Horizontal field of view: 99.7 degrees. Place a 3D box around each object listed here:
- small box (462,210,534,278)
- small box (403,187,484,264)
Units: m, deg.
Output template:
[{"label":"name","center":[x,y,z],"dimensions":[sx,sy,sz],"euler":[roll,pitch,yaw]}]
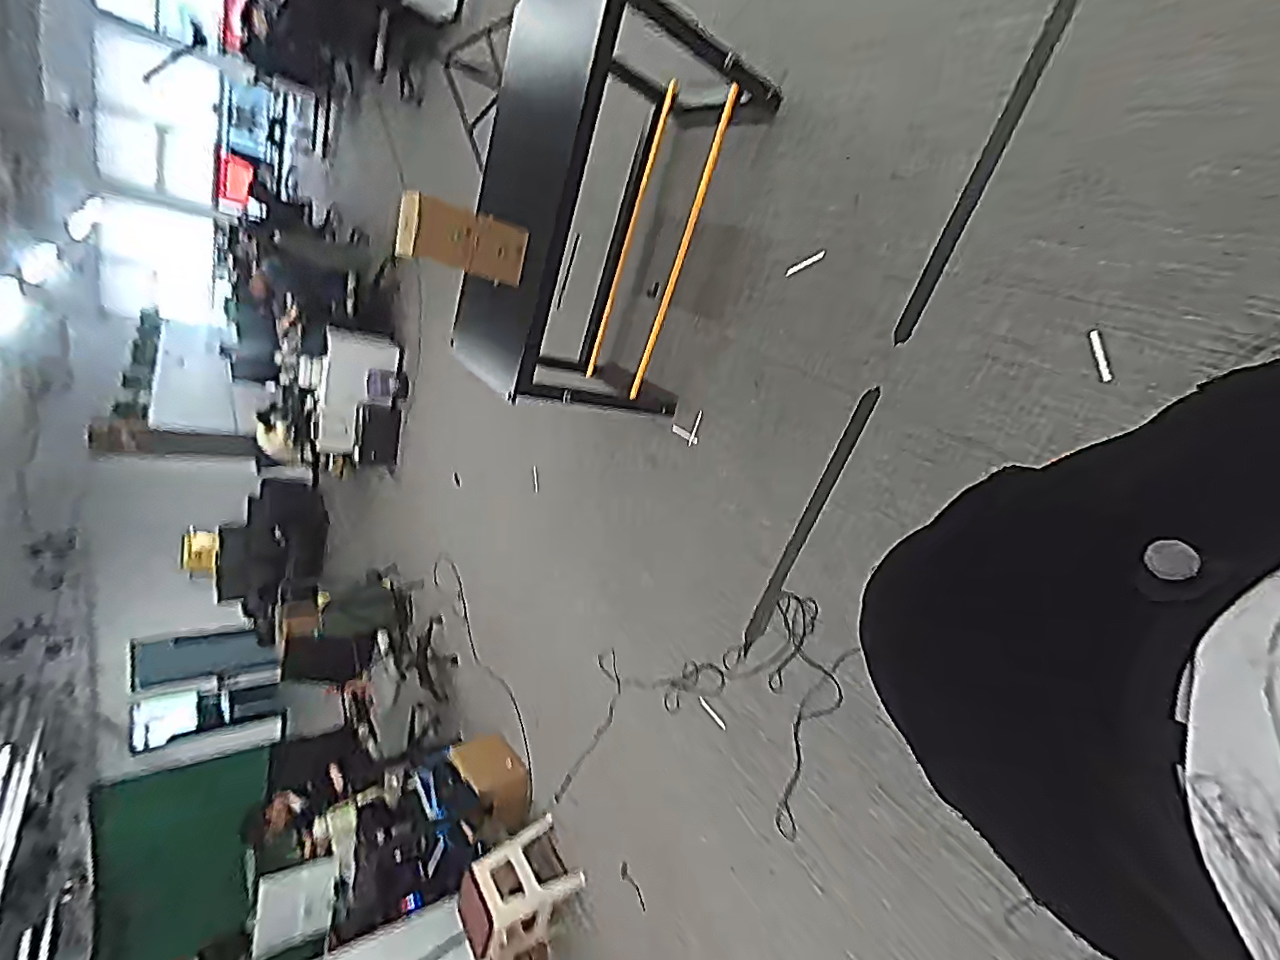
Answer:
[{"label":"small box","center":[-0.456,-0.747,1.709],"dimensions":[0.179,0.176,0.168],"euler":[34,114,45]},{"label":"small box","center":[-0.585,-0.753,1.606],"dimensions":[0.179,0.176,0.168],"euler":[32,113,46]}]
